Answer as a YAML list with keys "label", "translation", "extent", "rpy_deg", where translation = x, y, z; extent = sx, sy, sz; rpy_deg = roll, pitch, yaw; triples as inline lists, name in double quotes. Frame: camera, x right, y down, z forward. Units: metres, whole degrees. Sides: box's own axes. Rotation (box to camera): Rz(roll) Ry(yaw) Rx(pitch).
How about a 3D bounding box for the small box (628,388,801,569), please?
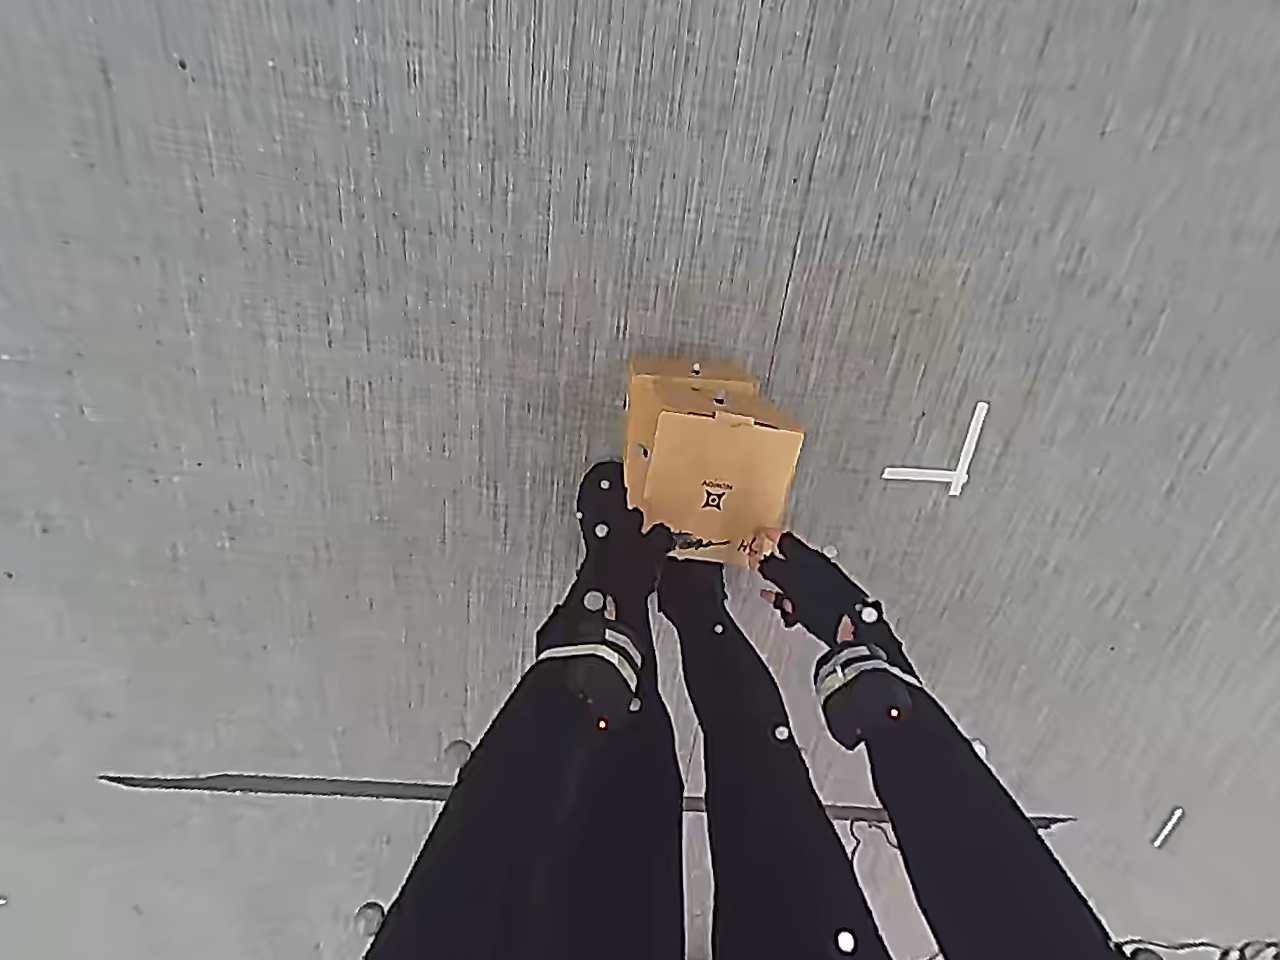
- label: "small box"
  translation: [0.079, -0.011, 0.691]
  extent: [0.168, 0.176, 0.179]
  rpy_deg: [9, 109, -7]

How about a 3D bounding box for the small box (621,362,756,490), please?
- label: "small box"
  translation: [0.064, -0.085, 0.838]
  extent: [0.179, 0.176, 0.168]
  rpy_deg: [3, 110, -4]
